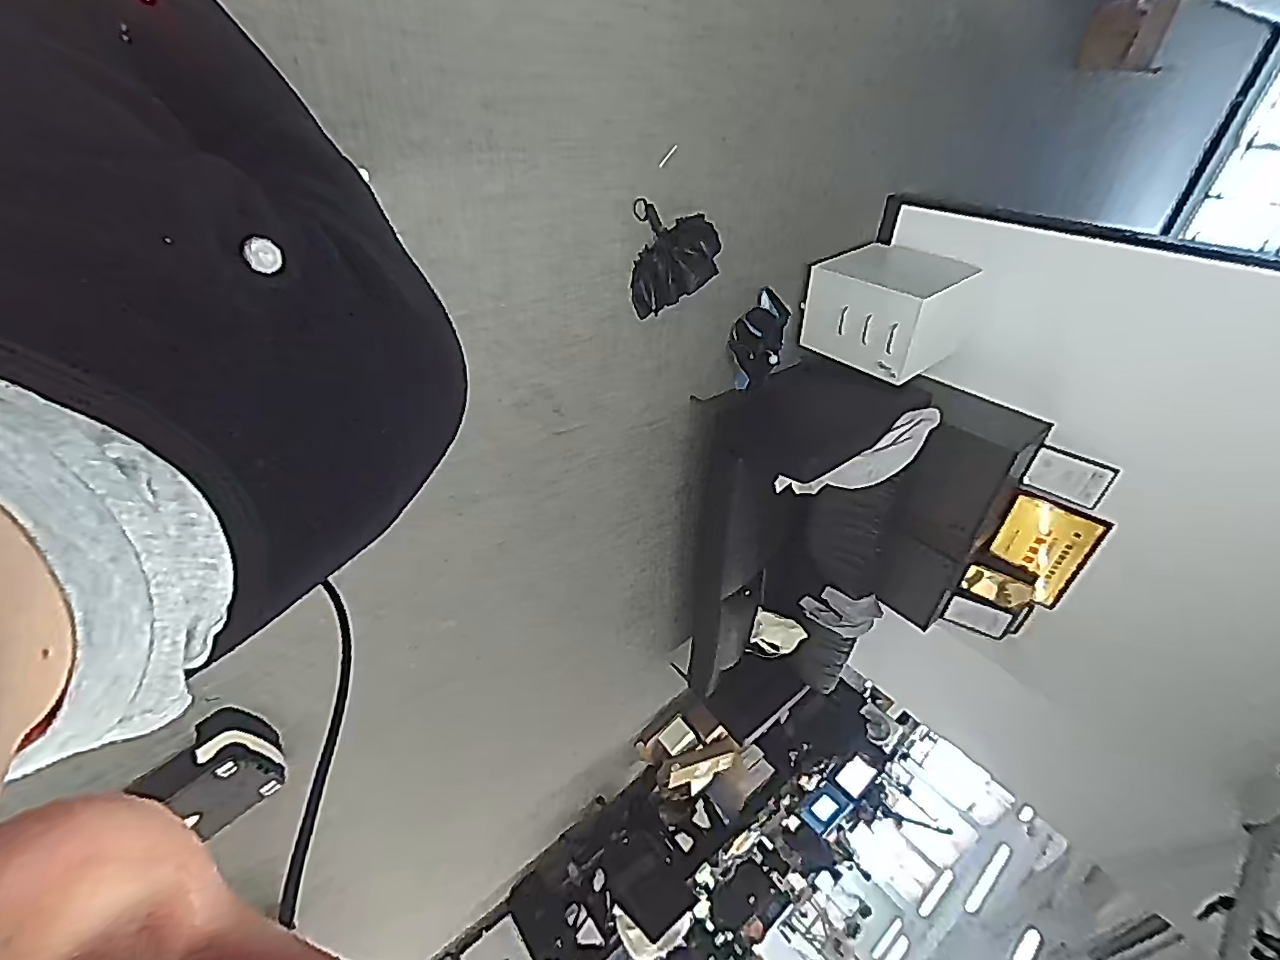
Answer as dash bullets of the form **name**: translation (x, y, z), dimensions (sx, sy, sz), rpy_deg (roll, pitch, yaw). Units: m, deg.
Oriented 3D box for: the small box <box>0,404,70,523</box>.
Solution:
- **small box**: translation (-1.276, -0.044, 1.067), dimensions (0.168, 0.176, 0.179), rpy_deg (25, 100, -52)
